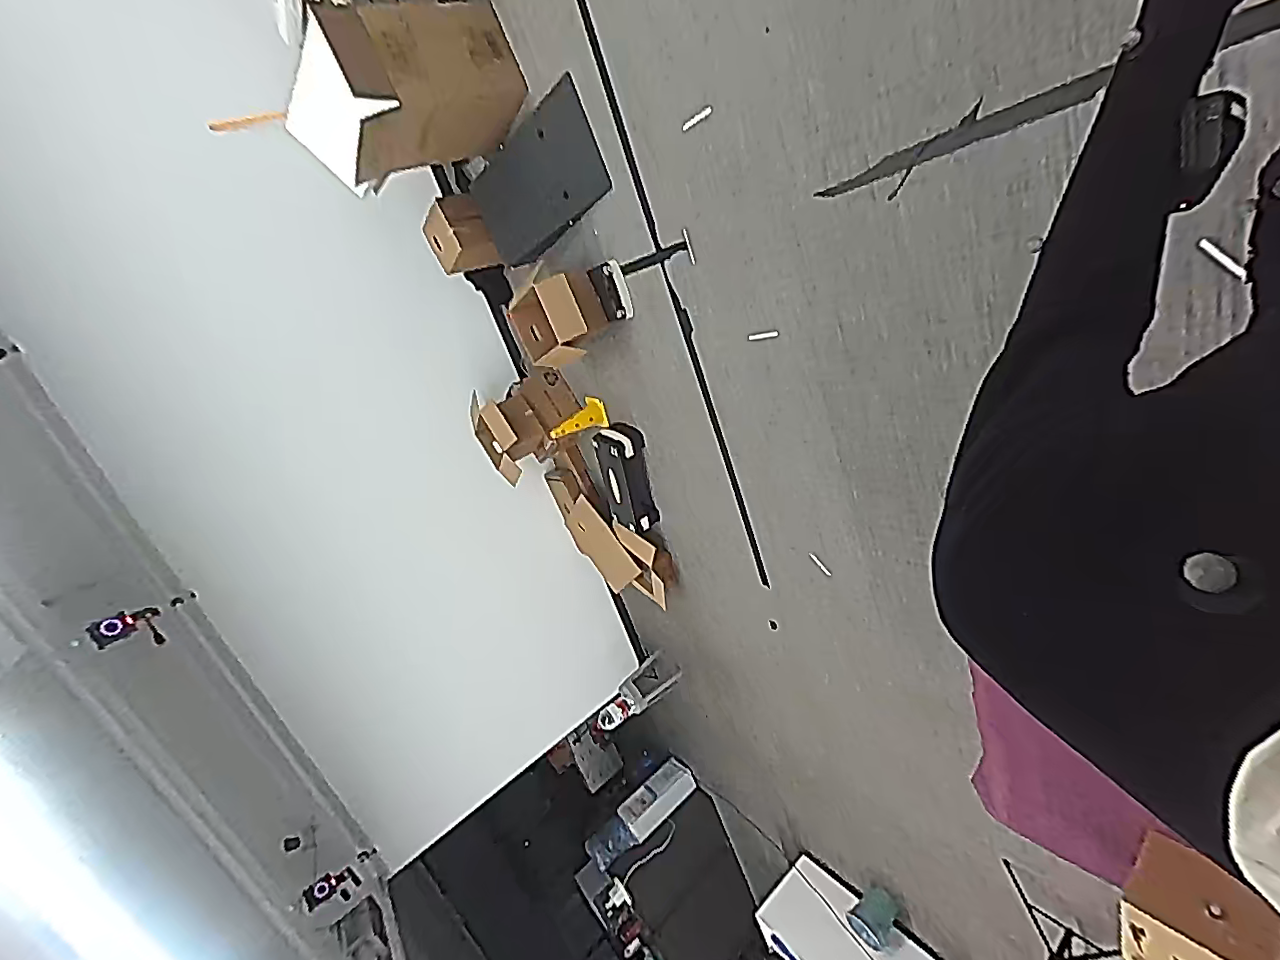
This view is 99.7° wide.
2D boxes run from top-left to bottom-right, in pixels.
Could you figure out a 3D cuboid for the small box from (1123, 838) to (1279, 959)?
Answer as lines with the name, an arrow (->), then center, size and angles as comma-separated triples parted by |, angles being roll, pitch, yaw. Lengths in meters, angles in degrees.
small box -> 0.956, 0.763, 0.915 | 0.179, 0.176, 0.168 | 10, 123, 55
